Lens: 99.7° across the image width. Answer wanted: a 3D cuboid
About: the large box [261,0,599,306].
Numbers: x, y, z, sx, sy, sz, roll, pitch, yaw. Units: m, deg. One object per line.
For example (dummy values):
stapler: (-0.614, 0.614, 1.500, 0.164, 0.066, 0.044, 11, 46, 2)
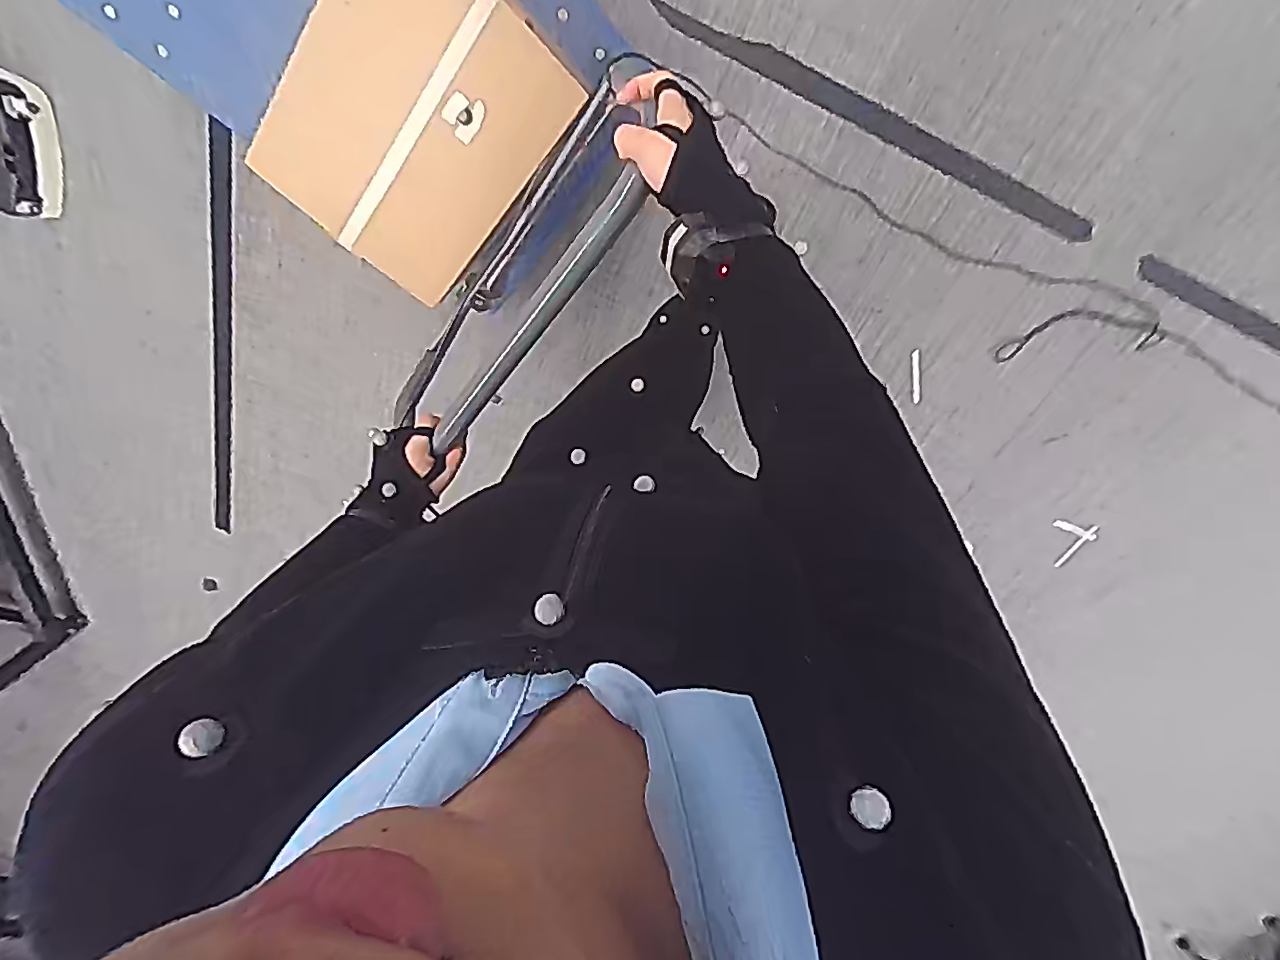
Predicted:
large box: (-0.313, -0.574, 0.886, 0.320, 0.320, 0.408, 37, 116, -24)
